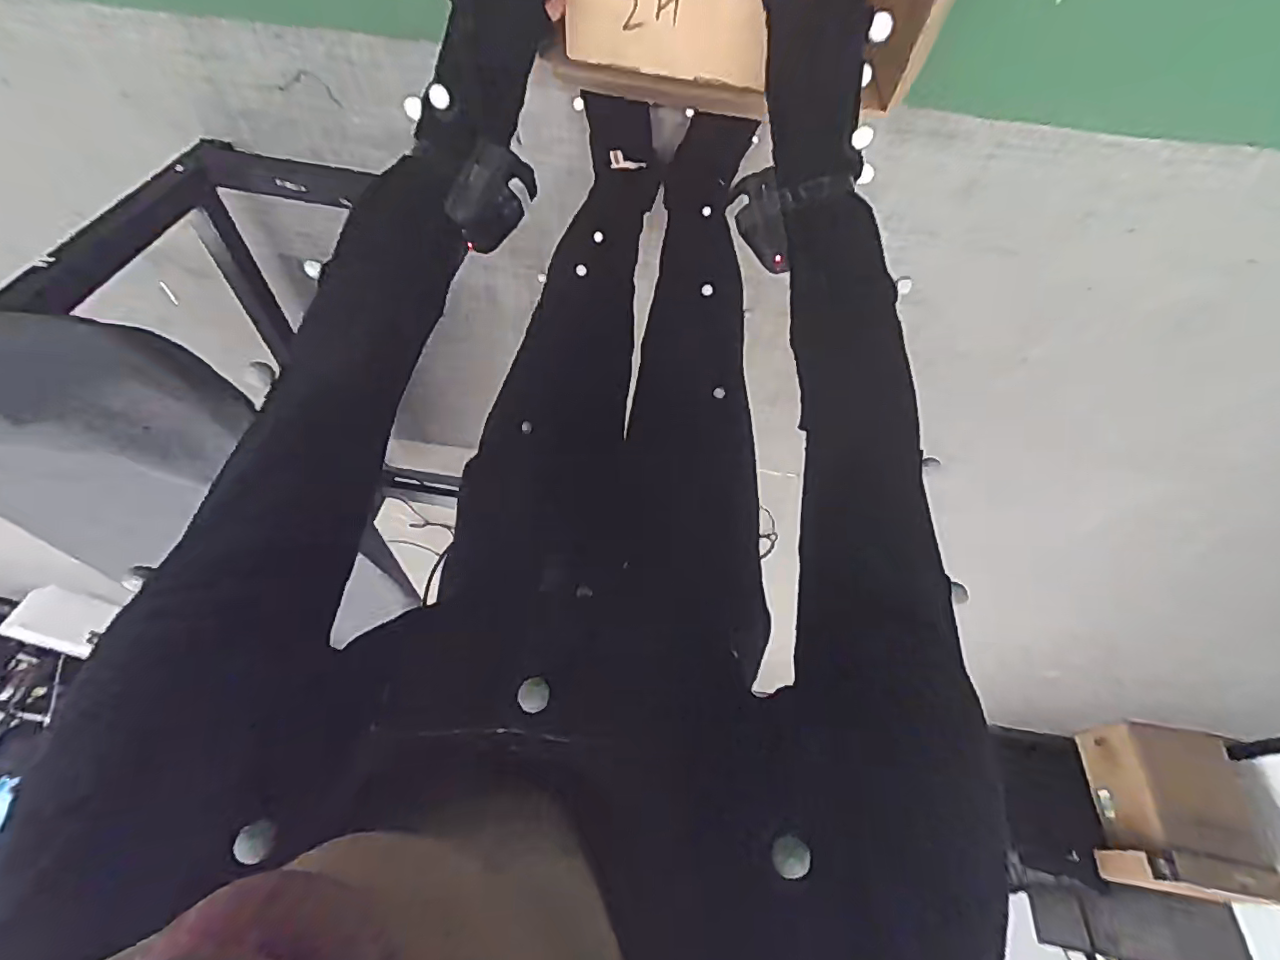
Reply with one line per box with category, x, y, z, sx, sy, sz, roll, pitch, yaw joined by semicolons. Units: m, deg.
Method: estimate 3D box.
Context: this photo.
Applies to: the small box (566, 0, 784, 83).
small box;0.038;-0.449;0.417;0.168;0.176;0.179;9;144;0
